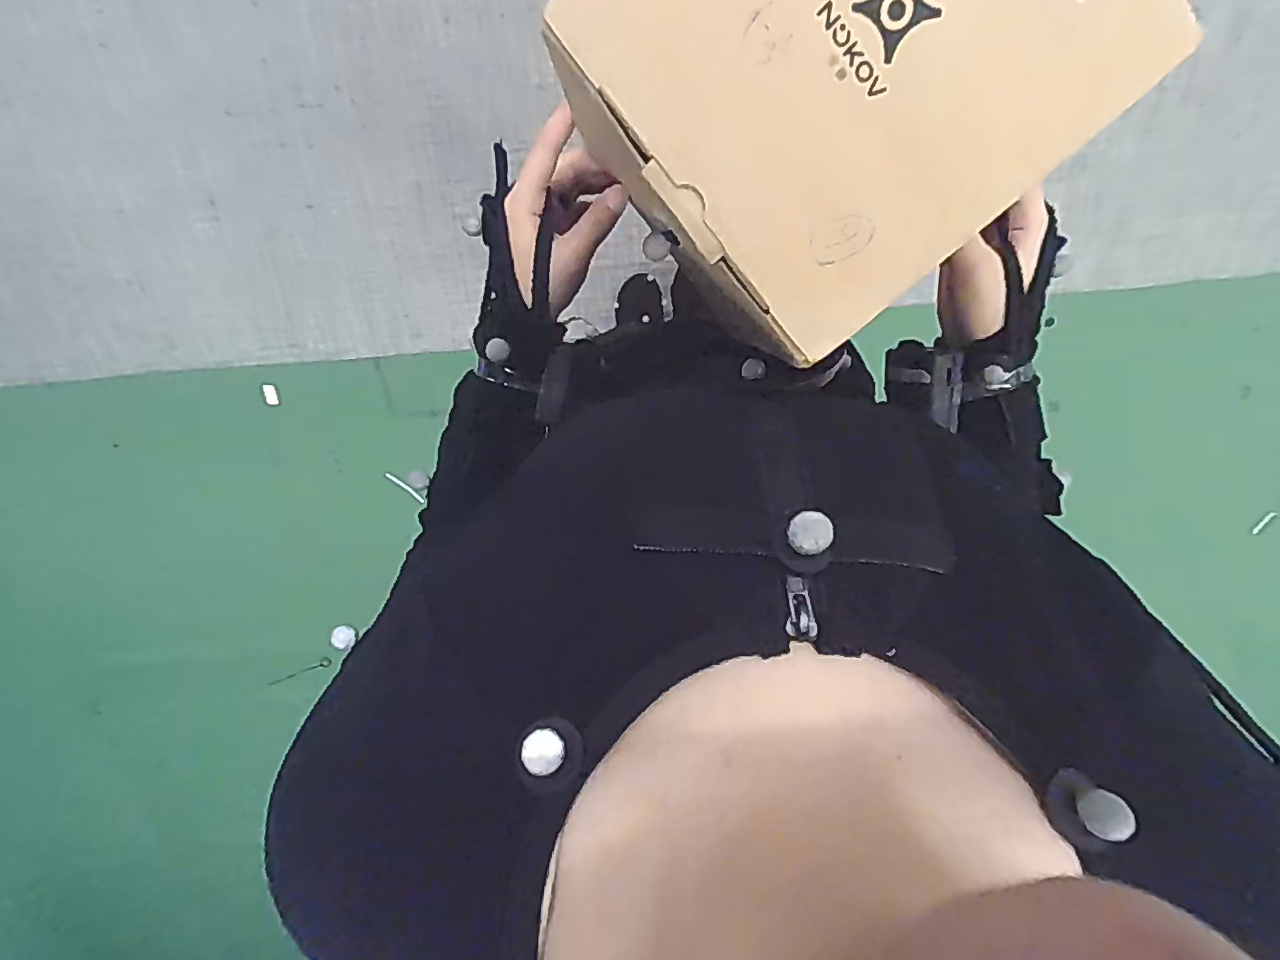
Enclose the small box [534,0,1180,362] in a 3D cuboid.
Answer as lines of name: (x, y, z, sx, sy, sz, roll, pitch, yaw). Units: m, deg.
small box: (0.079, -0.184, 0.271, 0.179, 0.176, 0.168, -39, 104, 13)
